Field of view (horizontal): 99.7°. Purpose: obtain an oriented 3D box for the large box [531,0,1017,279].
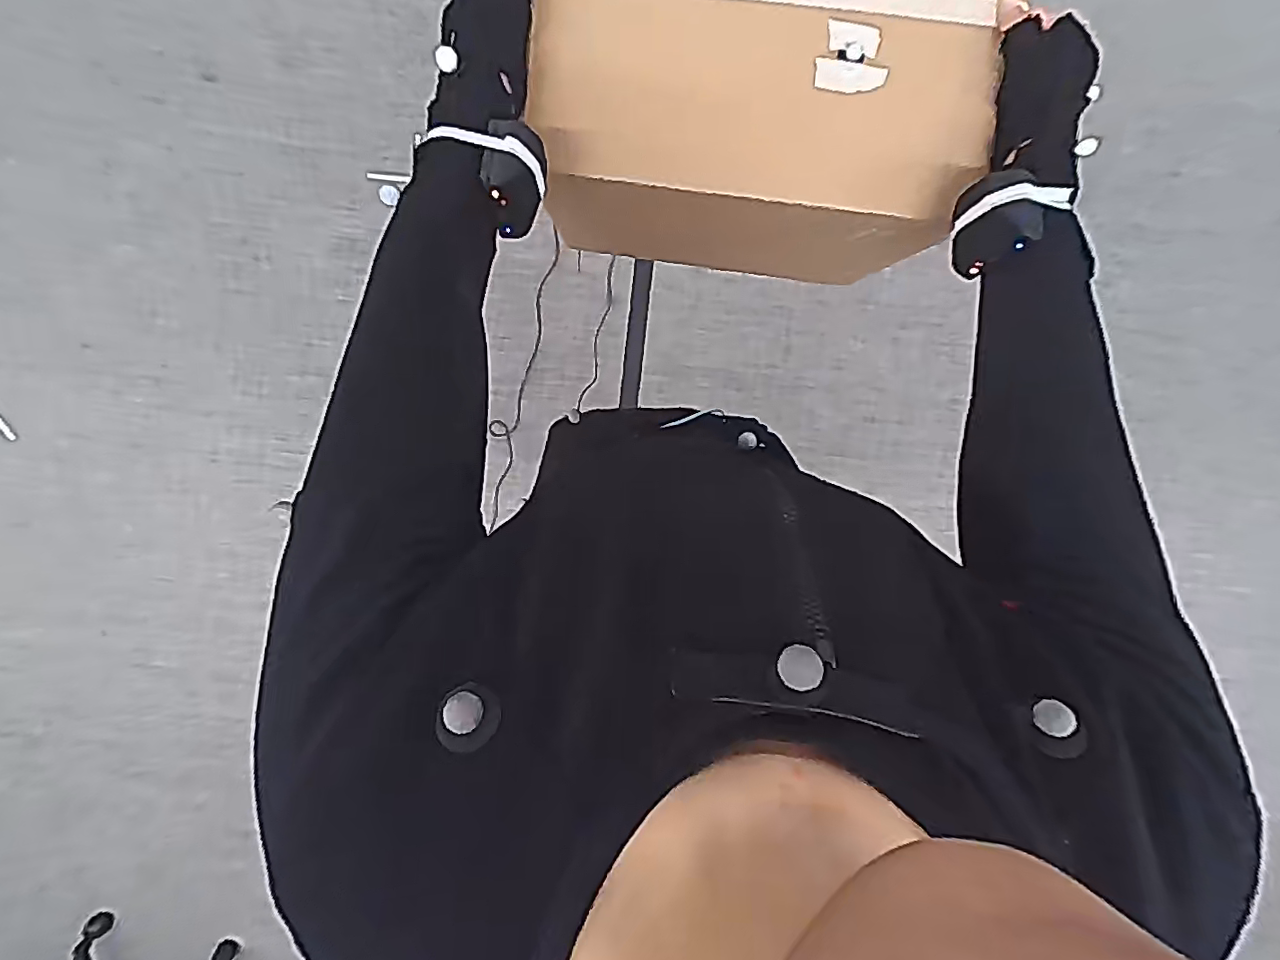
[{"bbox_3d":[0.114,-0.428,0.598,0.408,0.320,0.320,7,101,-1],"label":"large box"}]
